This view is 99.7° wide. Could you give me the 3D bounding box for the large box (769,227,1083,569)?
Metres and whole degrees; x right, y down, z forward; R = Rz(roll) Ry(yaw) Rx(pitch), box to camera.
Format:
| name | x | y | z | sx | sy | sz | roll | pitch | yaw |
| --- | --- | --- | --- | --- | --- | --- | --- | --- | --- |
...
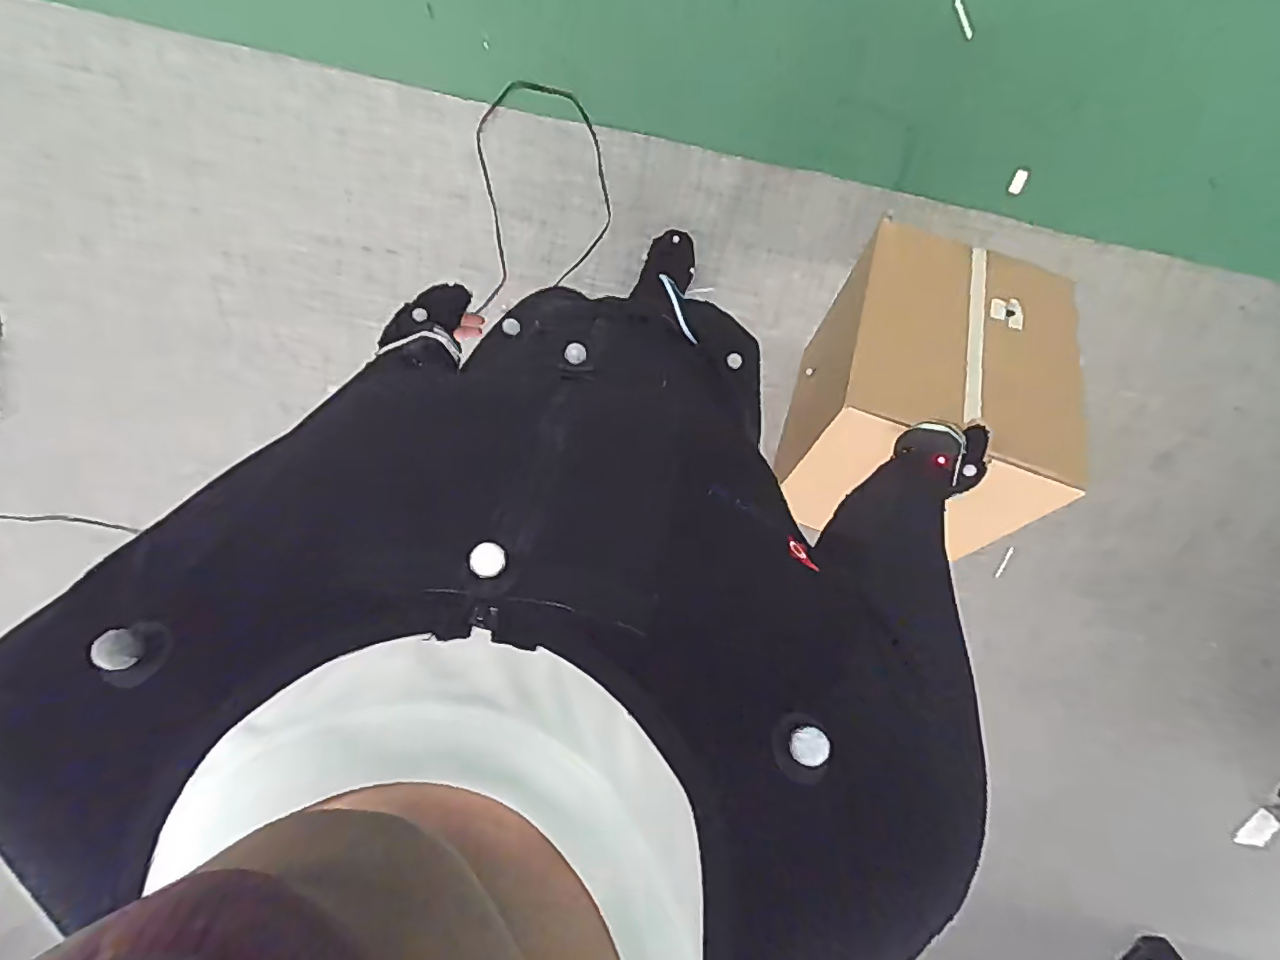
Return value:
| name | x | y | z | sx | sy | sz | roll | pitch | yaw |
| --- | --- | --- | --- | --- | --- | --- | --- | --- | --- |
| large box | 0.440 | -0.123 | 0.891 | 0.320 | 0.408 | 0.320 | 21 | 151 | 2 |
